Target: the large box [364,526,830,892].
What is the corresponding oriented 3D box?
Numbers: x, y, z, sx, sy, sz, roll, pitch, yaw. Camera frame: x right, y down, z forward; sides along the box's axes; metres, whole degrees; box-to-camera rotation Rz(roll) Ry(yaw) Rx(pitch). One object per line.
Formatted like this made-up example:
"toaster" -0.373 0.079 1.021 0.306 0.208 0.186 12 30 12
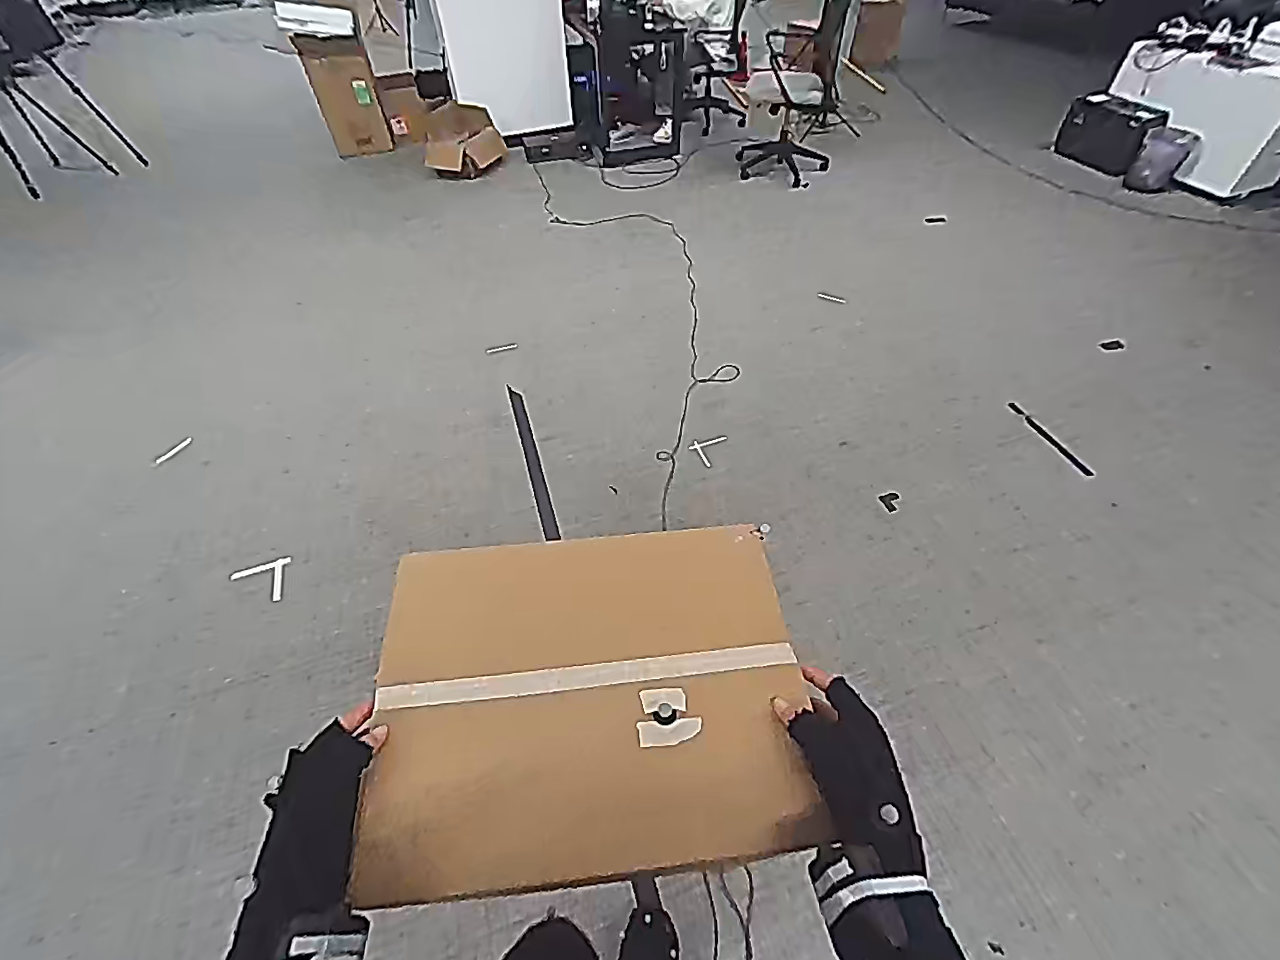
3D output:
"large box" -0.049 0.282 0.660 0.408 0.320 0.320 -4 53 -4
